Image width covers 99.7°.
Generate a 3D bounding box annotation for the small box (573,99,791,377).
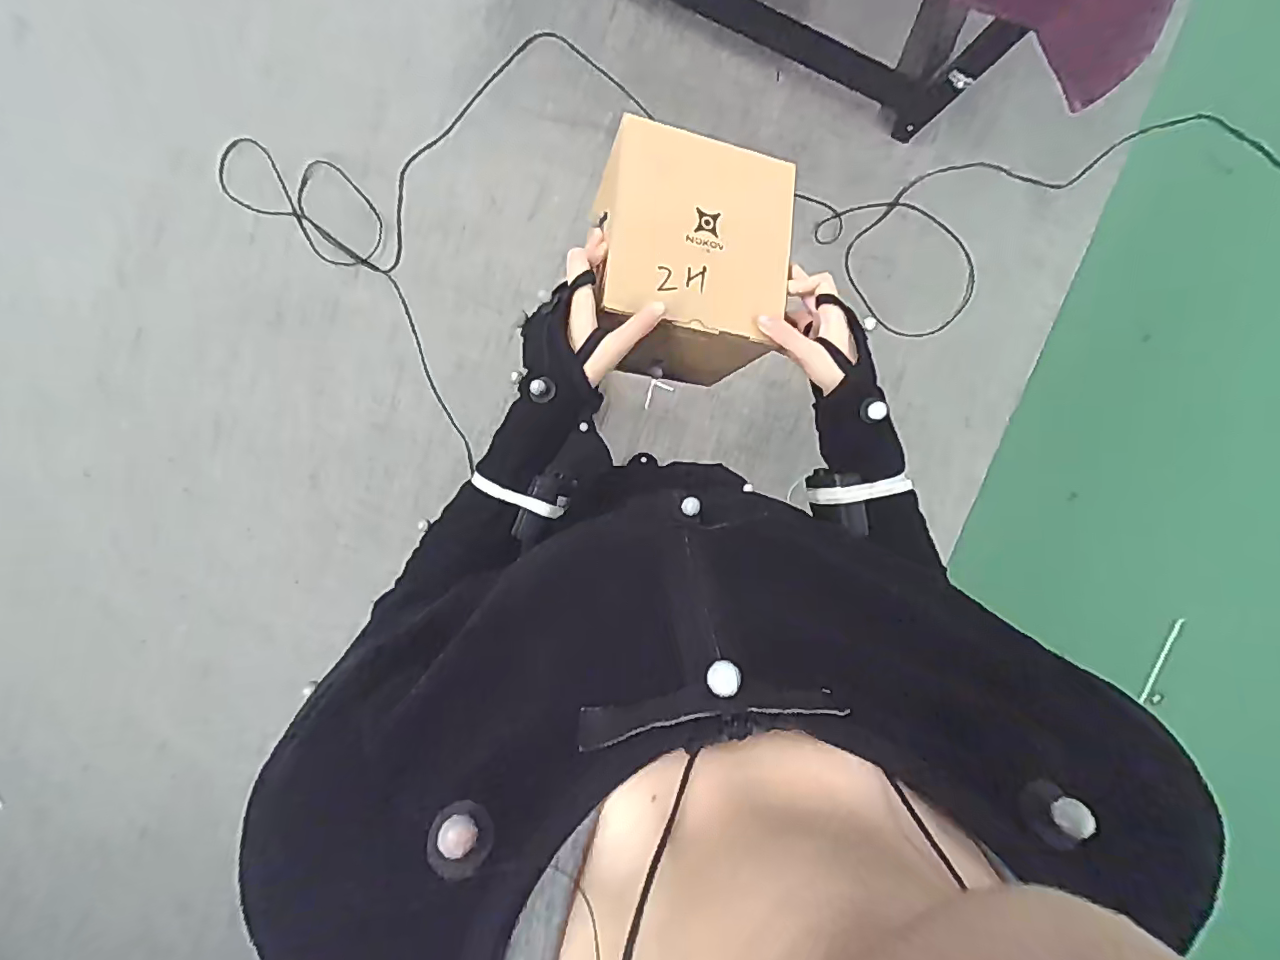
[{"bbox_3d":[0.031,-0.221,0.544,0.168,0.176,0.179,8,83,-14],"label":"small box"}]
